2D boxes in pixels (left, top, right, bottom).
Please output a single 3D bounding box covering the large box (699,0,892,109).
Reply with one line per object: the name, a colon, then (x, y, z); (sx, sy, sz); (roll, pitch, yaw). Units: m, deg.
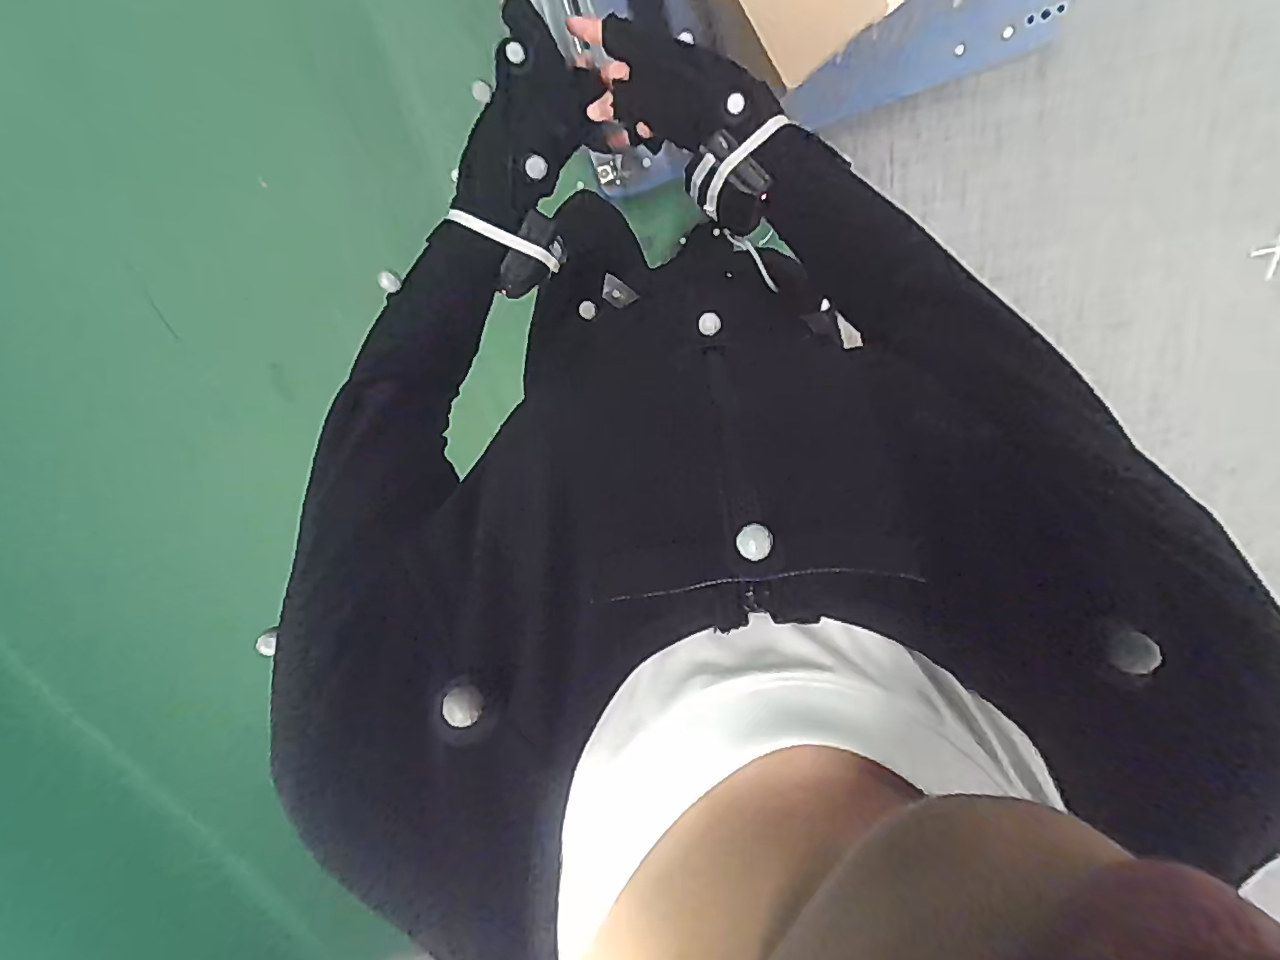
large box: (0.214, -0.835, 0.761); (0.320, 0.320, 0.408); (-33, 111, 19)
